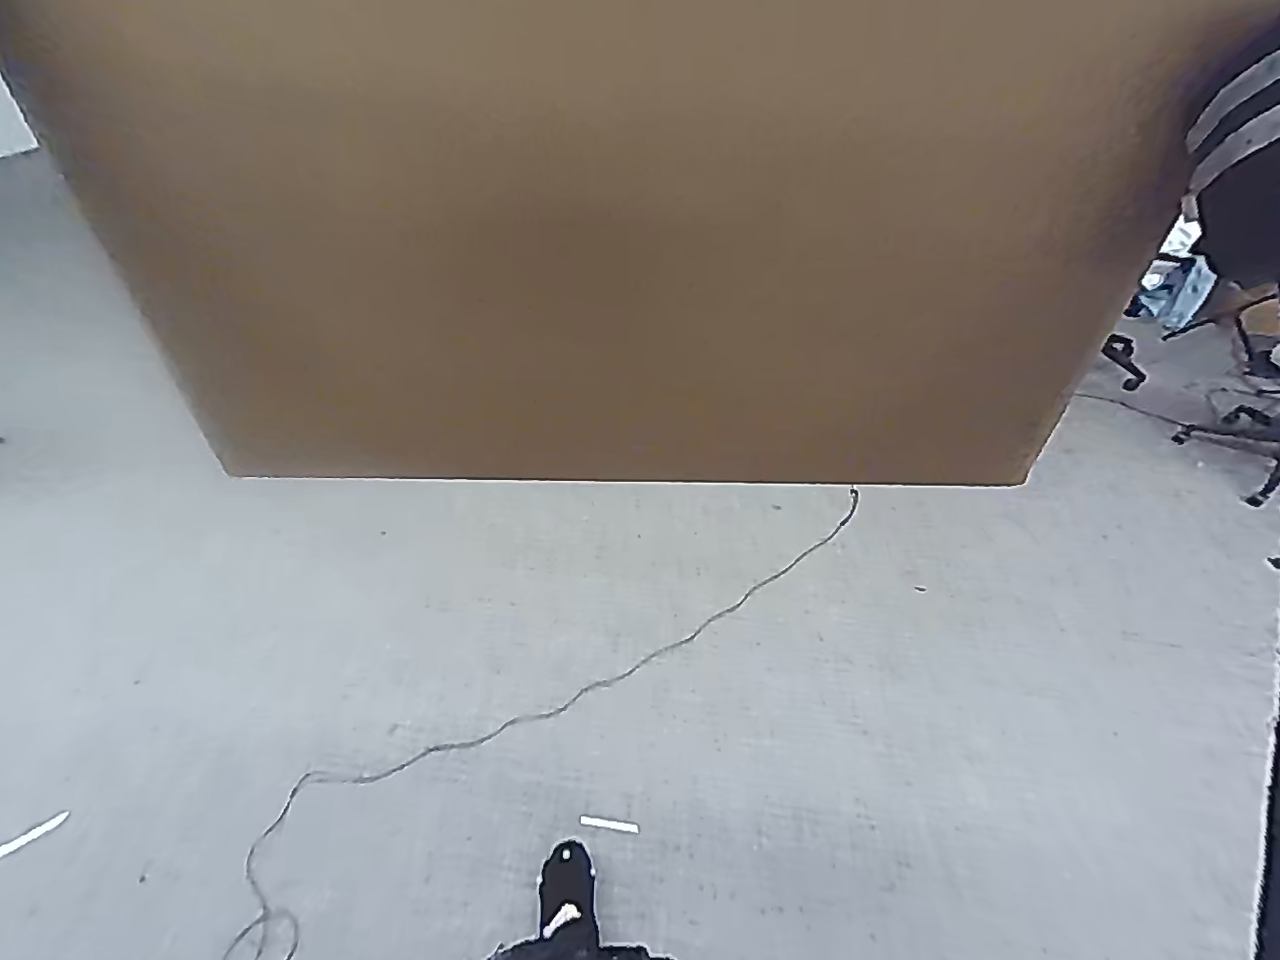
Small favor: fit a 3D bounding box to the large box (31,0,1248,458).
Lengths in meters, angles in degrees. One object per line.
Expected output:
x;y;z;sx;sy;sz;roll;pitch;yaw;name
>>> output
-0.001;-0.222;0.308;0.408;0.320;0.320;2;38;-2;large box
